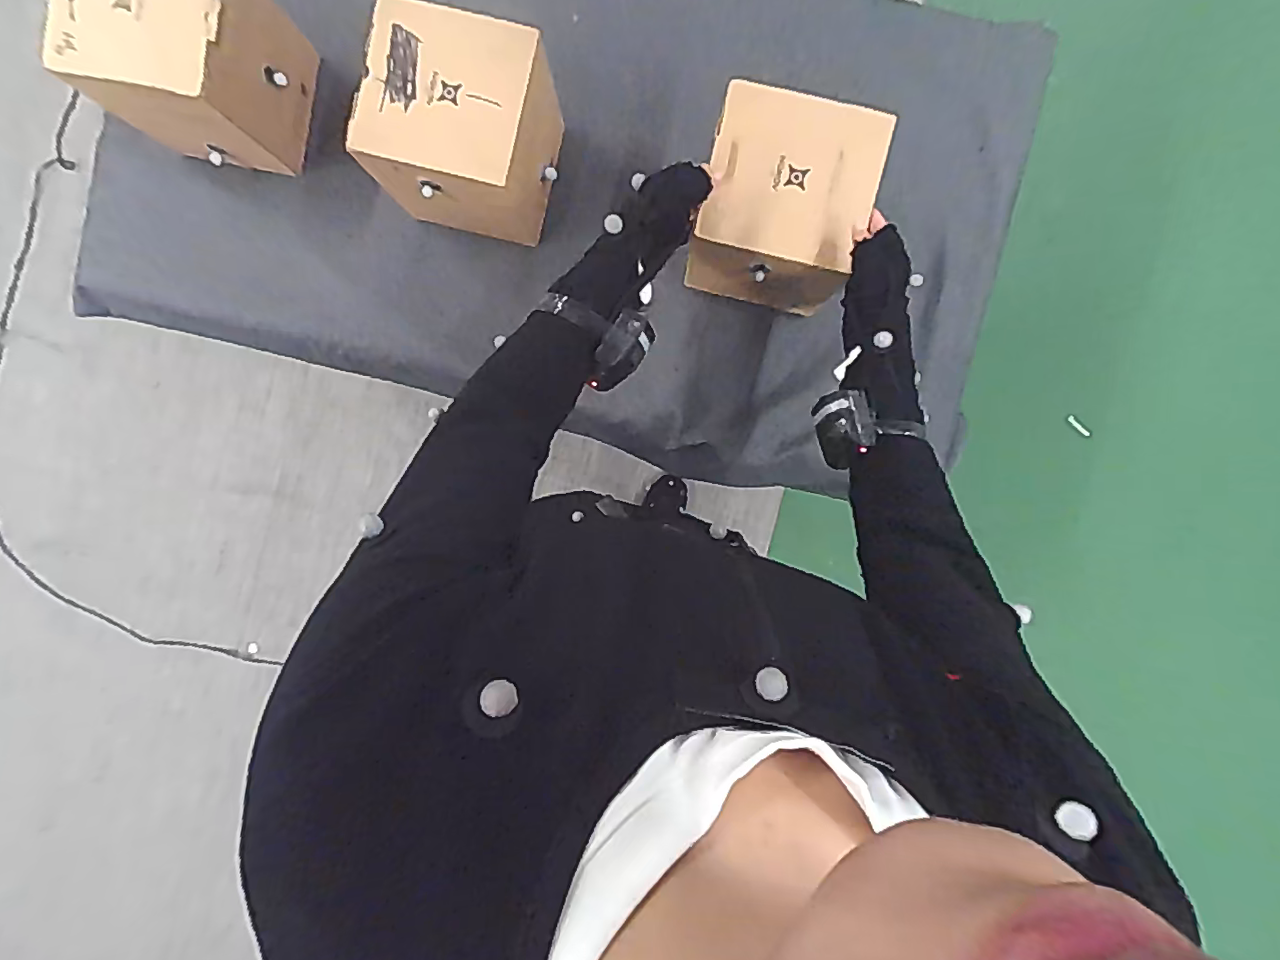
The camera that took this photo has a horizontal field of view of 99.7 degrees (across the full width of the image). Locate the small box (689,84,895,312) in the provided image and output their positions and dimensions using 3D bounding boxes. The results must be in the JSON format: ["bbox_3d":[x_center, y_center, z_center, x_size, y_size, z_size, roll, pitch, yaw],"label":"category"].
[{"bbox_3d":[0.160,-0.312,0.637,0.179,0.176,0.168,14,93,1],"label":"small box"}]

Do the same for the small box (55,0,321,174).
[{"bbox_3d":[-0.522,-0.500,0.651,0.179,0.176,0.168,11,93,0],"label":"small box"}]

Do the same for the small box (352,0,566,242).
[{"bbox_3d":[-0.200,-0.409,0.647,0.179,0.176,0.168,14,93,0],"label":"small box"}]
